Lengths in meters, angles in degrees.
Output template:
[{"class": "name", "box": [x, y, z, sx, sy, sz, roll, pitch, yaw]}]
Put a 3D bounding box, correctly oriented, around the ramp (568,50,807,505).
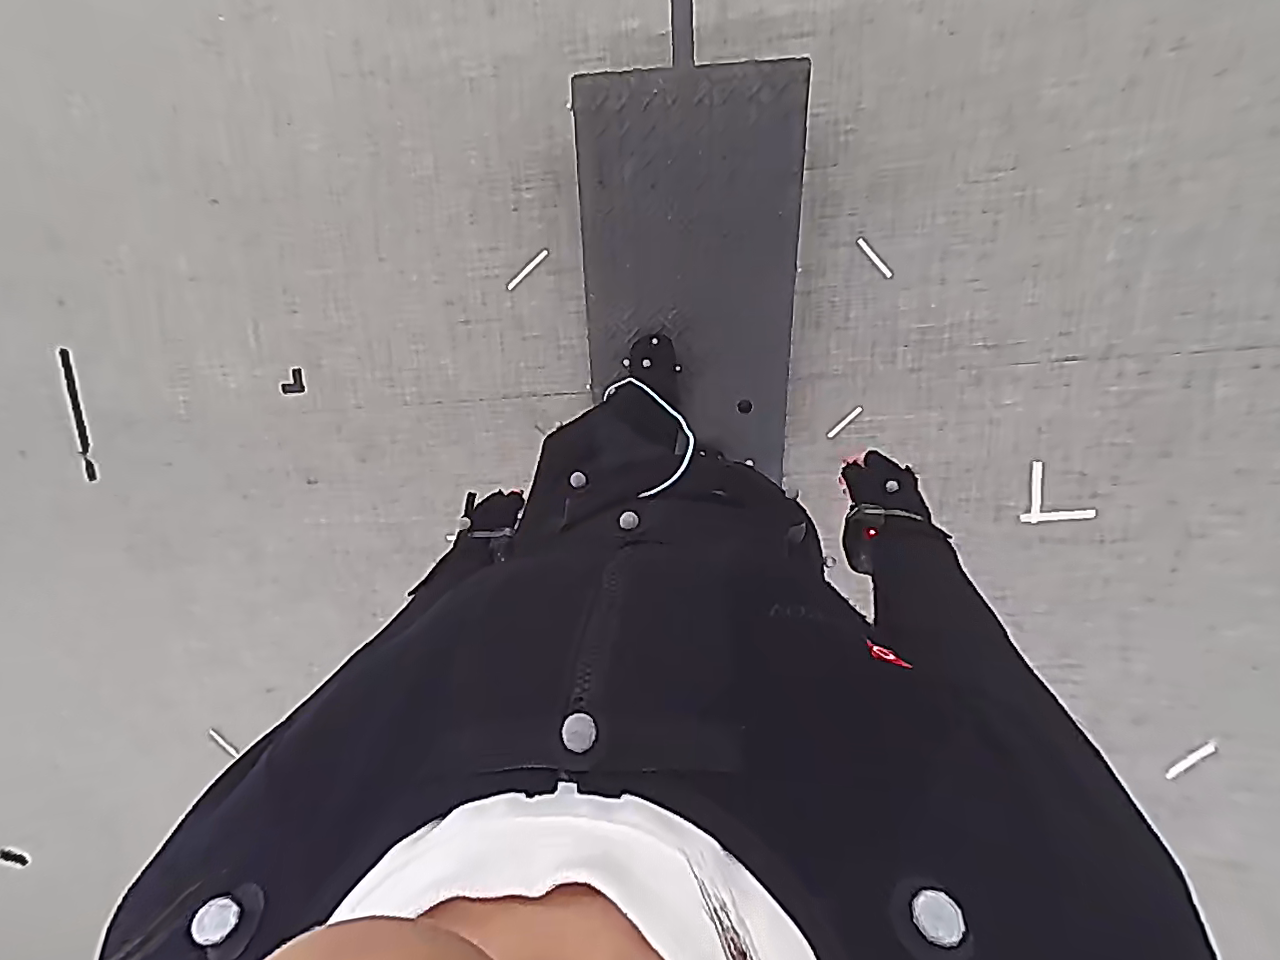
[{"class": "ramp", "box": [0.114, -0.393, 1.287, 0.509, 0.206, 0.991, -1, 102, 6]}]
